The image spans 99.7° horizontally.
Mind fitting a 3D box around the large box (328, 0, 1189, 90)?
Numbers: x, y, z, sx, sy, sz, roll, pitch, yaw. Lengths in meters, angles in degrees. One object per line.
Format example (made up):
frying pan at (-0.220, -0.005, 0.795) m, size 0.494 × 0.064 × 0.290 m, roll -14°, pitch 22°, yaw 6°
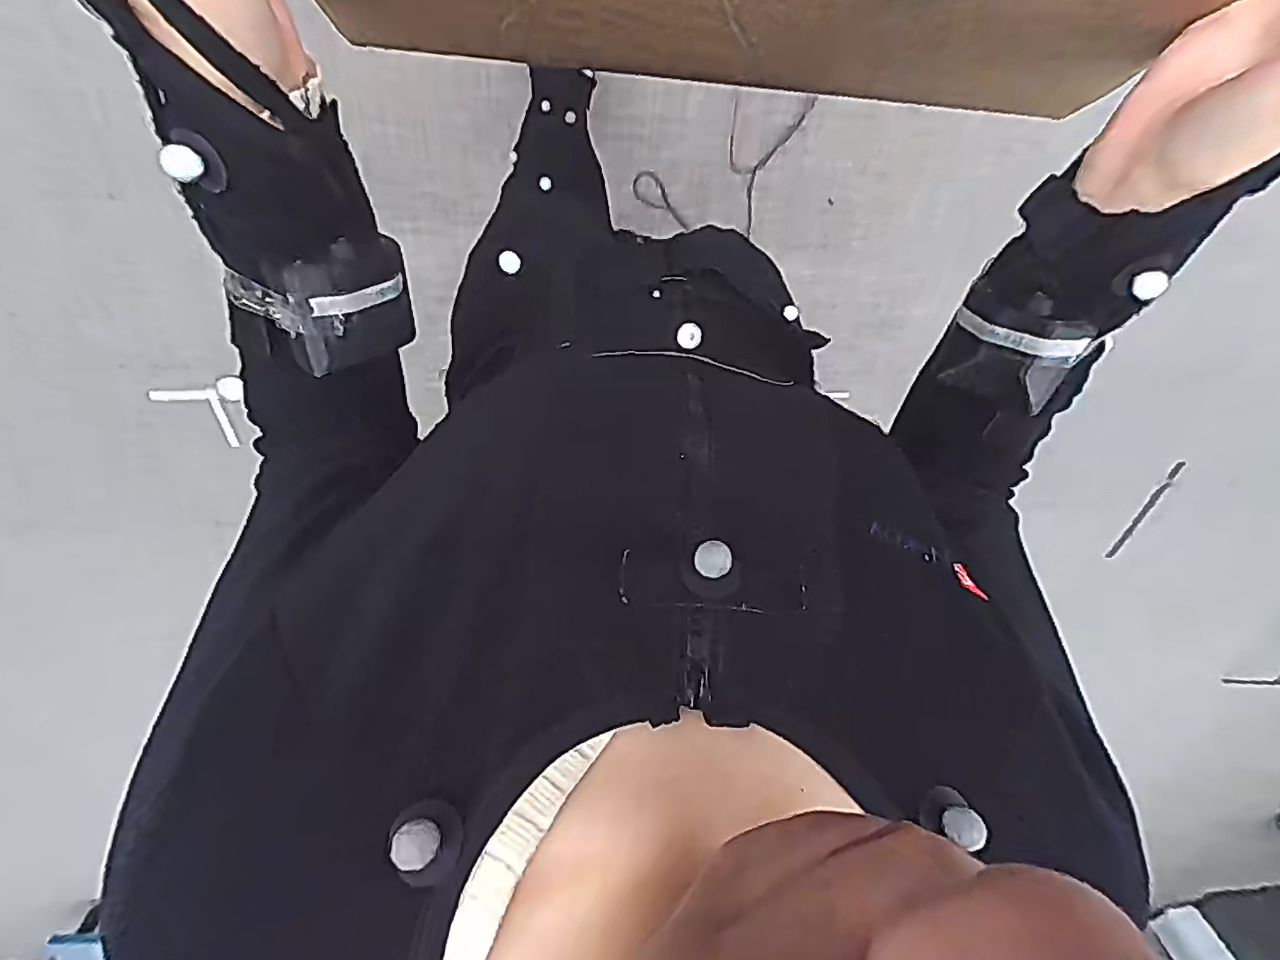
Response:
large box at (0.054, -0.360, 0.133) m, size 0.408 × 0.320 × 0.320 m, roll 2°, pitch 99°, yaw -3°
